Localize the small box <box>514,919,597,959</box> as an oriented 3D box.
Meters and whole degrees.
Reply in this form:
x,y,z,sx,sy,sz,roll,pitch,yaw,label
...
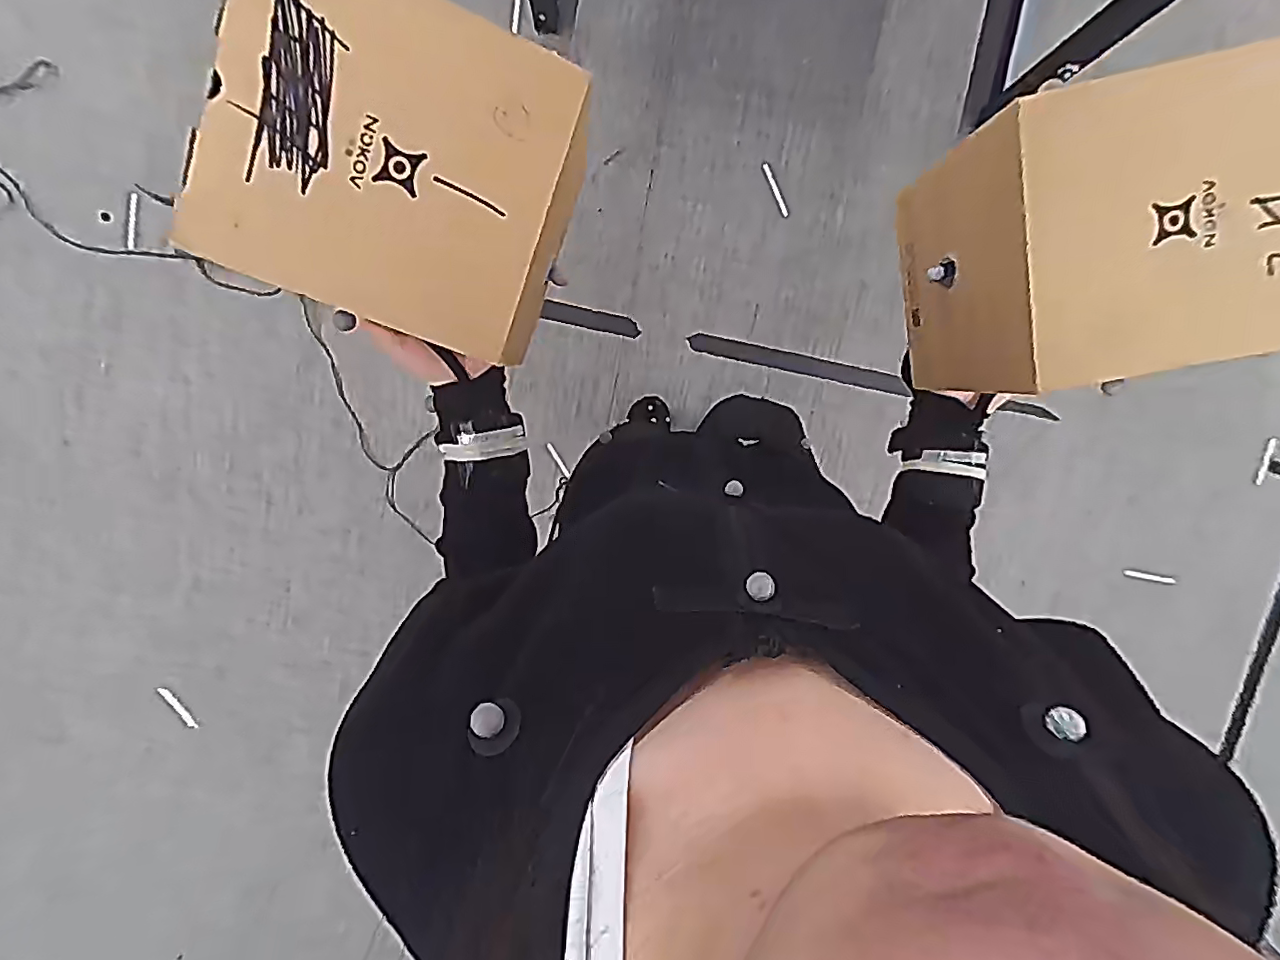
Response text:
x,y,z,sx,sy,sz,roll,pitch,yaw,label
-0.186,1.047,1.096,0.168,0.176,0.179,15,98,-4,small box

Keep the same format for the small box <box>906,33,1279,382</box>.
x,y,z,sx,sy,sz,roll,pitch,yaw,label
0.309,-0.164,0.383,0.179,0.176,0.168,-10,100,4,small box

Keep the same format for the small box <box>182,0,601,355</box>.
x,y,z,sx,sy,sz,roll,pitch,yaw,label
-0.139,-0.188,0.361,0.179,0.176,0.168,19,99,-12,small box
